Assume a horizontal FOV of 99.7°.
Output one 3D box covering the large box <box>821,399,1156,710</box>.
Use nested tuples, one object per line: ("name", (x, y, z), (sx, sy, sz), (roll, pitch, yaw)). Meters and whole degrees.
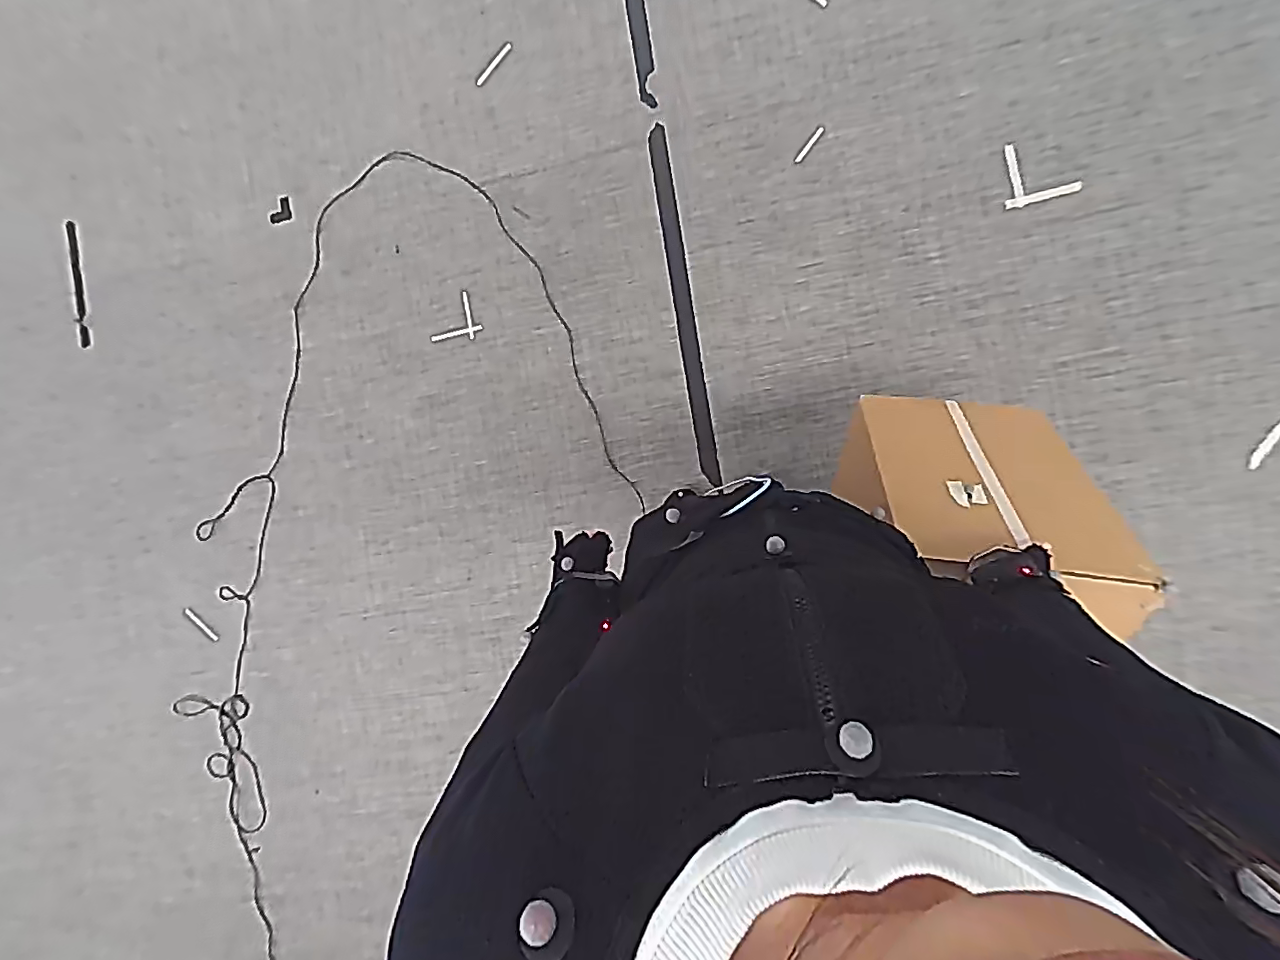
("large box", (0.511, 0.109, 0.919), (0.320, 0.408, 0.320), (5, 131, 8))
